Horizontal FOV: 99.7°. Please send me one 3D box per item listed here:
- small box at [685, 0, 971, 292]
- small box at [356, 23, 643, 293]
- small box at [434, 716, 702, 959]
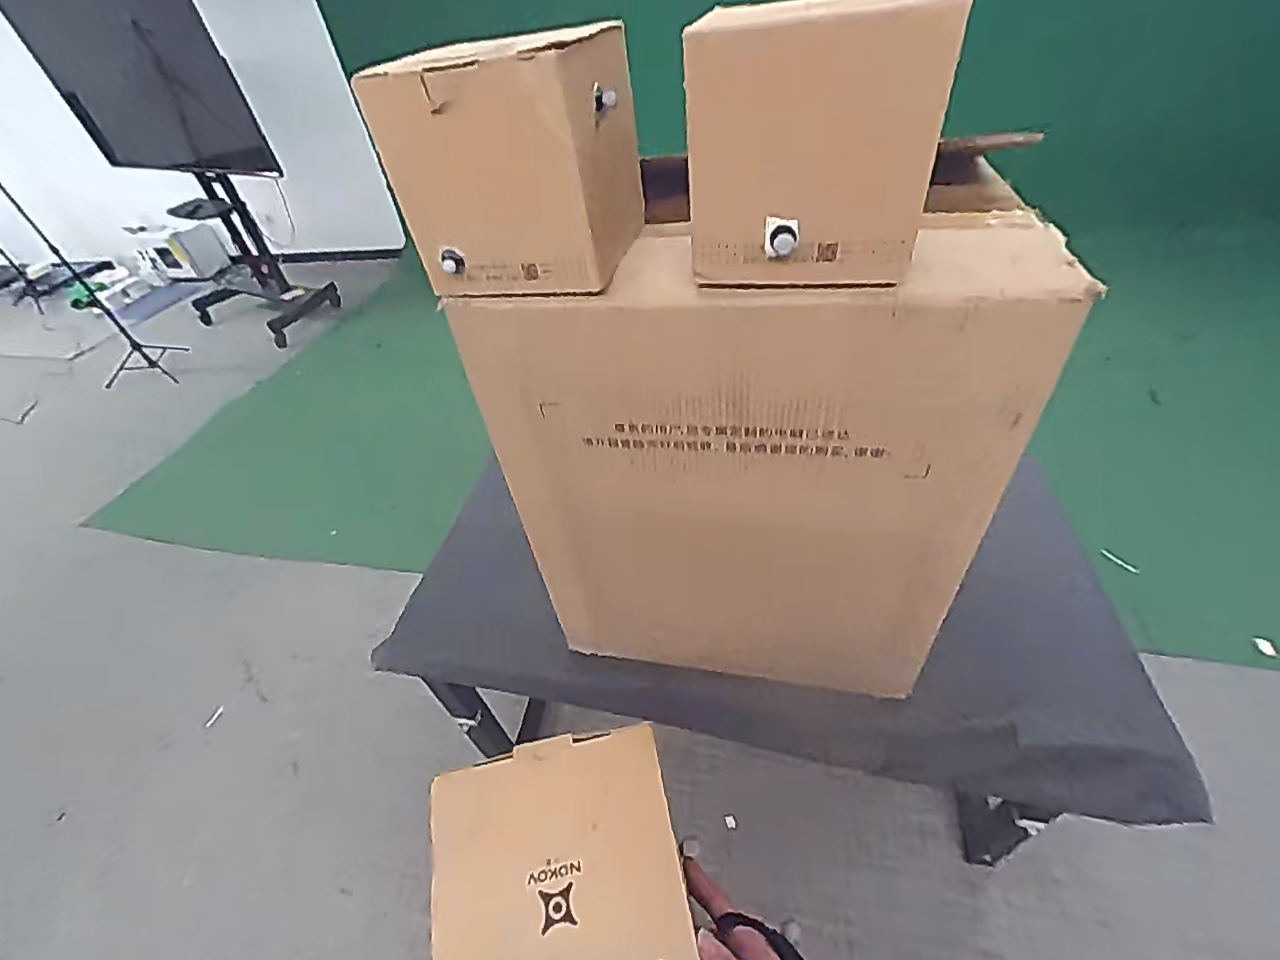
[{"bbox_3d":[0.133,-0.267,0.431,0.168,0.176,0.179,3,45,14],"label":"small box"},{"bbox_3d":[-0.100,-0.280,0.486,0.168,0.176,0.179,4,44,16],"label":"small box"},{"bbox_3d":[-0.049,0.308,0.426,0.168,0.176,0.179,-12,57,-2],"label":"small box"}]
